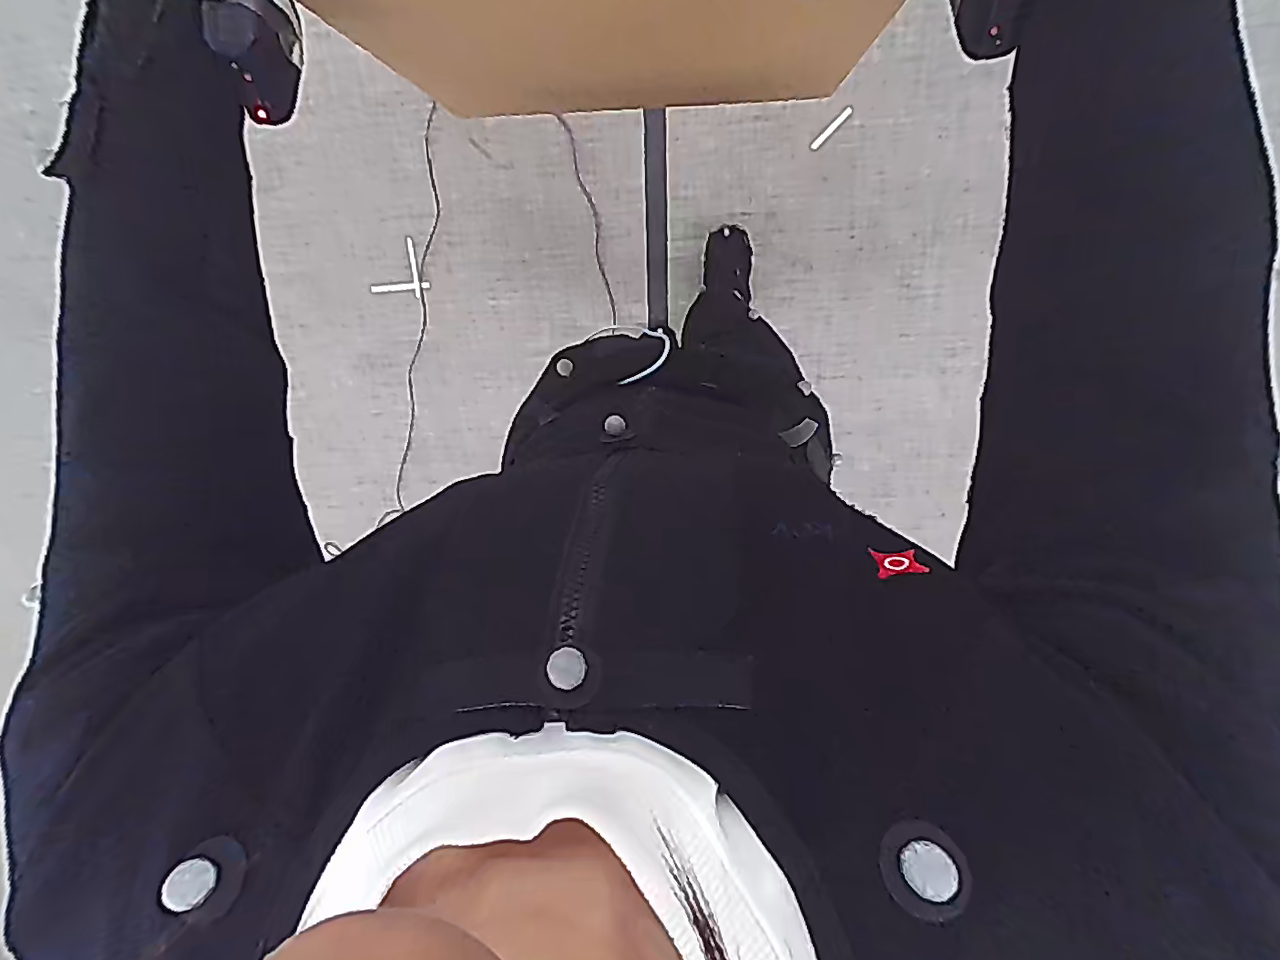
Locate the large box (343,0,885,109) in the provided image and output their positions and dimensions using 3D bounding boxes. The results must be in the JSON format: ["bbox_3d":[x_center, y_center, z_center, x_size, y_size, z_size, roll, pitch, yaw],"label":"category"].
[{"bbox_3d":[-0.014,-0.503,0.387,0.408,0.320,0.320,-1,111,4],"label":"large box"}]
